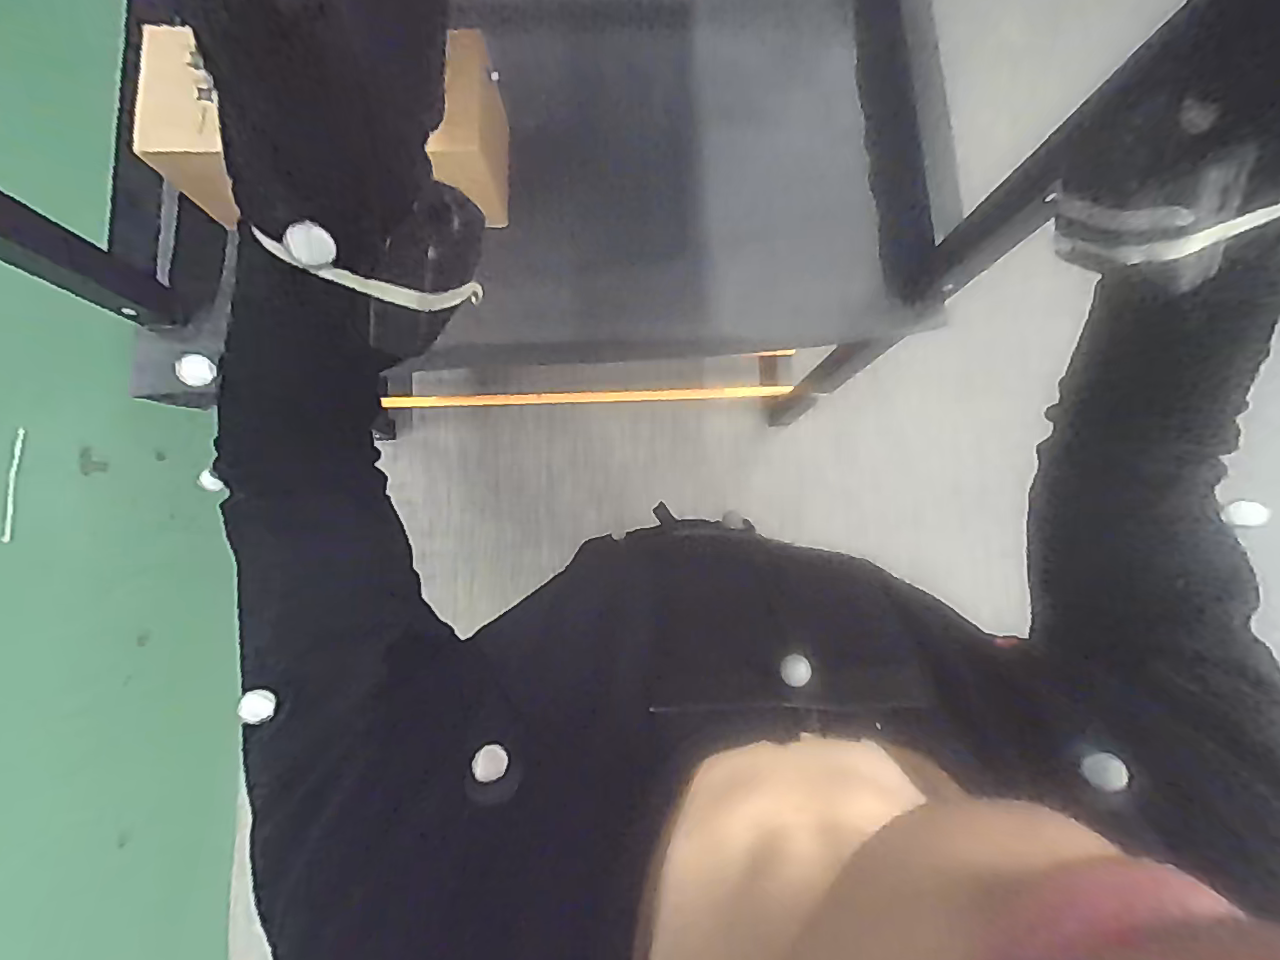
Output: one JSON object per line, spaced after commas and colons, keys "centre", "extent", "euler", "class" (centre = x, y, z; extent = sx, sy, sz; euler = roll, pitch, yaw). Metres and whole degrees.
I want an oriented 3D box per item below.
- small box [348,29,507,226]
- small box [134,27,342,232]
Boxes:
{"centre": [-0.287, -0.484, 0.765], "extent": [0.168, 0.176, 0.179], "euler": [-1, 82, -2], "class": "small box"}
{"centre": [-0.540, -0.475, 0.752], "extent": [0.168, 0.176, 0.179], "euler": [-1, 83, -2], "class": "small box"}
